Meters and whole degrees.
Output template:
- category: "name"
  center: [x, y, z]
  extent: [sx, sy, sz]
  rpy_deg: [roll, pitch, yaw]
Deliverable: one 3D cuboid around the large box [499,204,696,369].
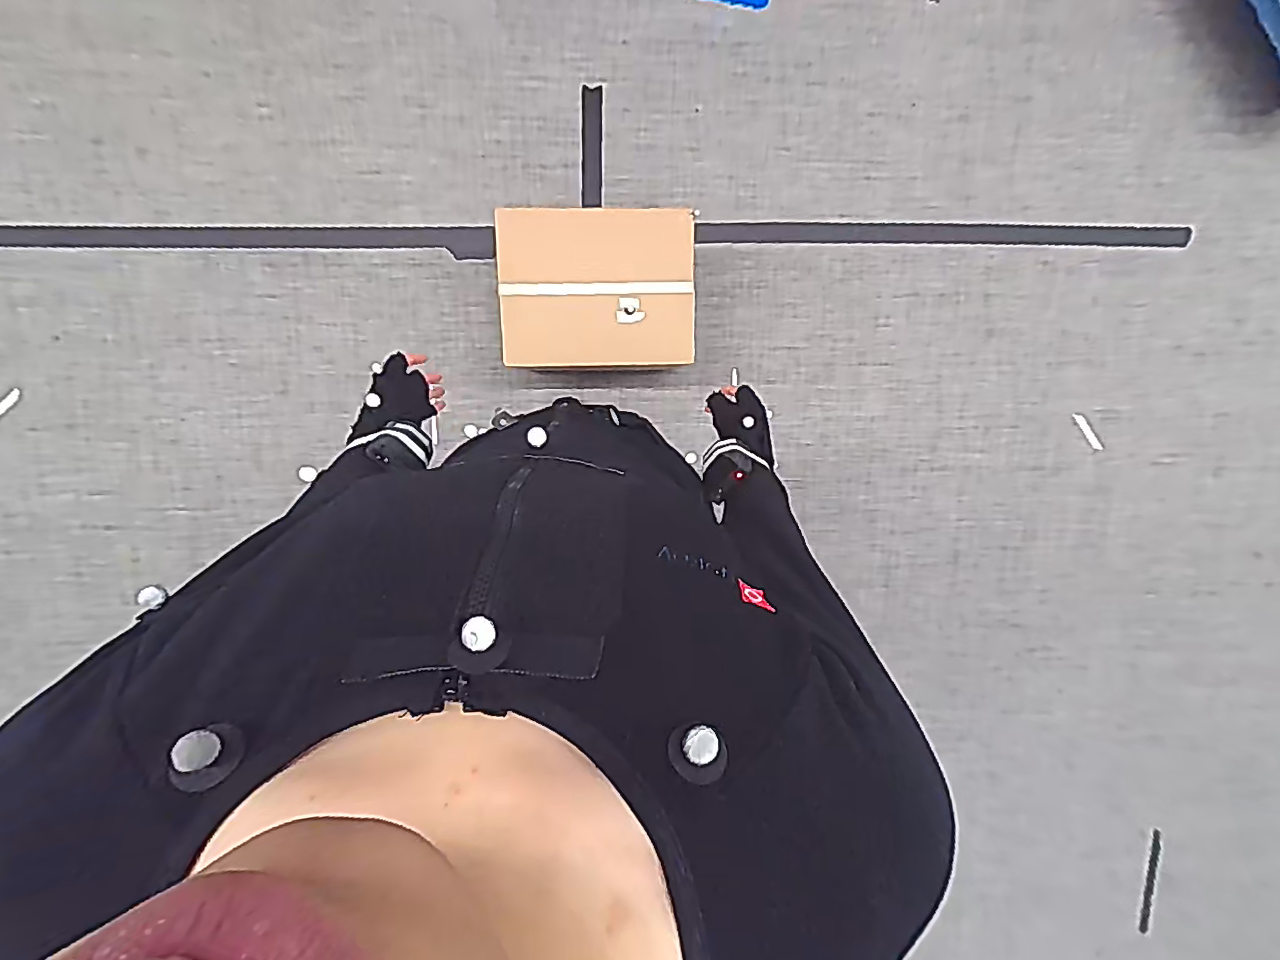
- category: "large box"
  center: [-0.094, -0.429, 1.267]
  extent: [0.408, 0.320, 0.320]
  rpy_deg: [-2, 100, -4]
